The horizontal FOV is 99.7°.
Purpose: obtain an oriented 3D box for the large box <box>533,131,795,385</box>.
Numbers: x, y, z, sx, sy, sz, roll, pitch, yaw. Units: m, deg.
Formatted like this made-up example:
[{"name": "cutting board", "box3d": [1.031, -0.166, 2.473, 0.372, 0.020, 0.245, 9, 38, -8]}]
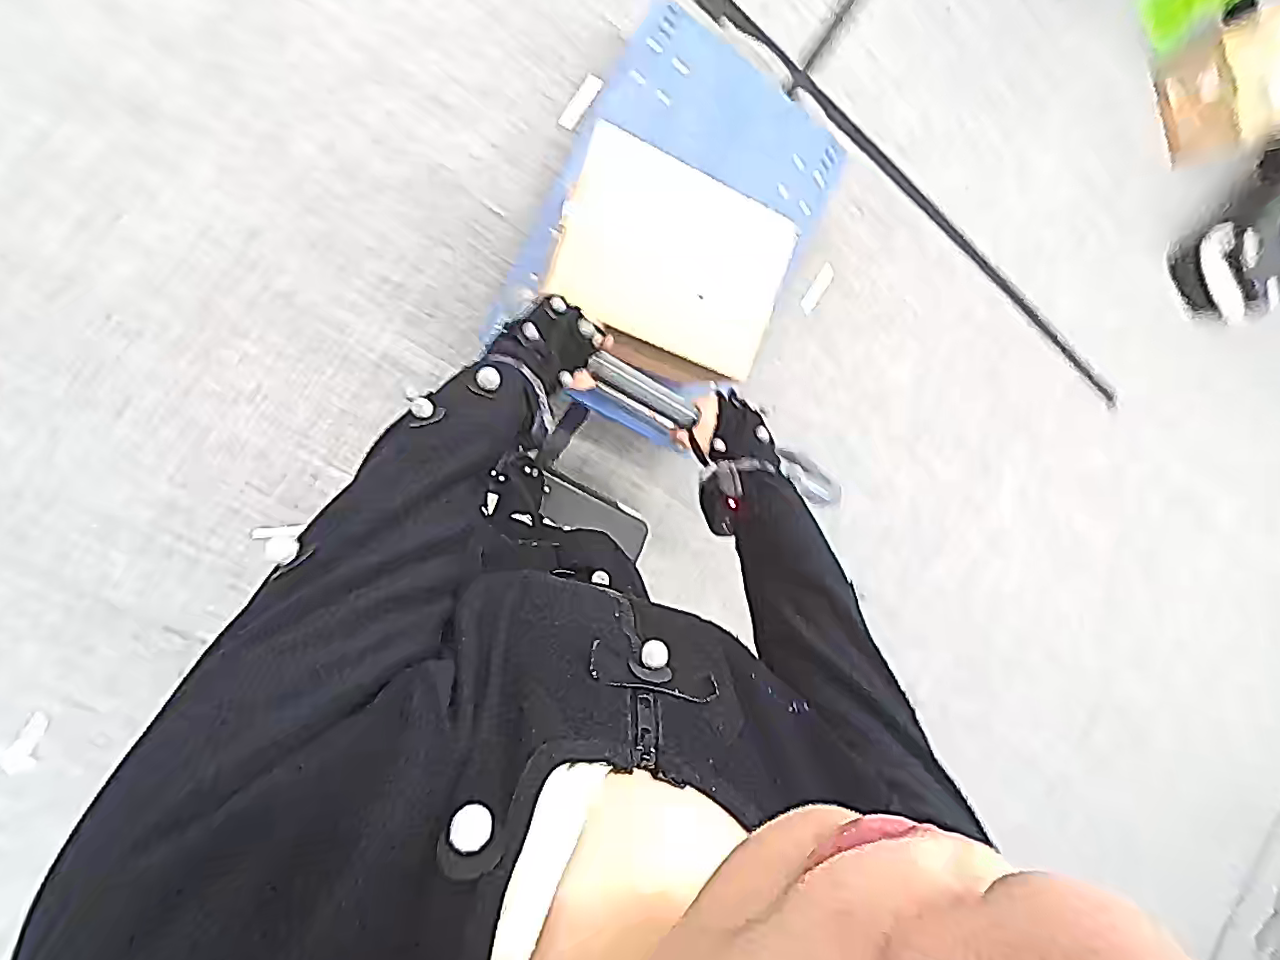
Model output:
[{"name": "large box", "box3d": [0.028, -0.412, 1.118, 0.408, 0.320, 0.320, 19, 93, -19]}]
